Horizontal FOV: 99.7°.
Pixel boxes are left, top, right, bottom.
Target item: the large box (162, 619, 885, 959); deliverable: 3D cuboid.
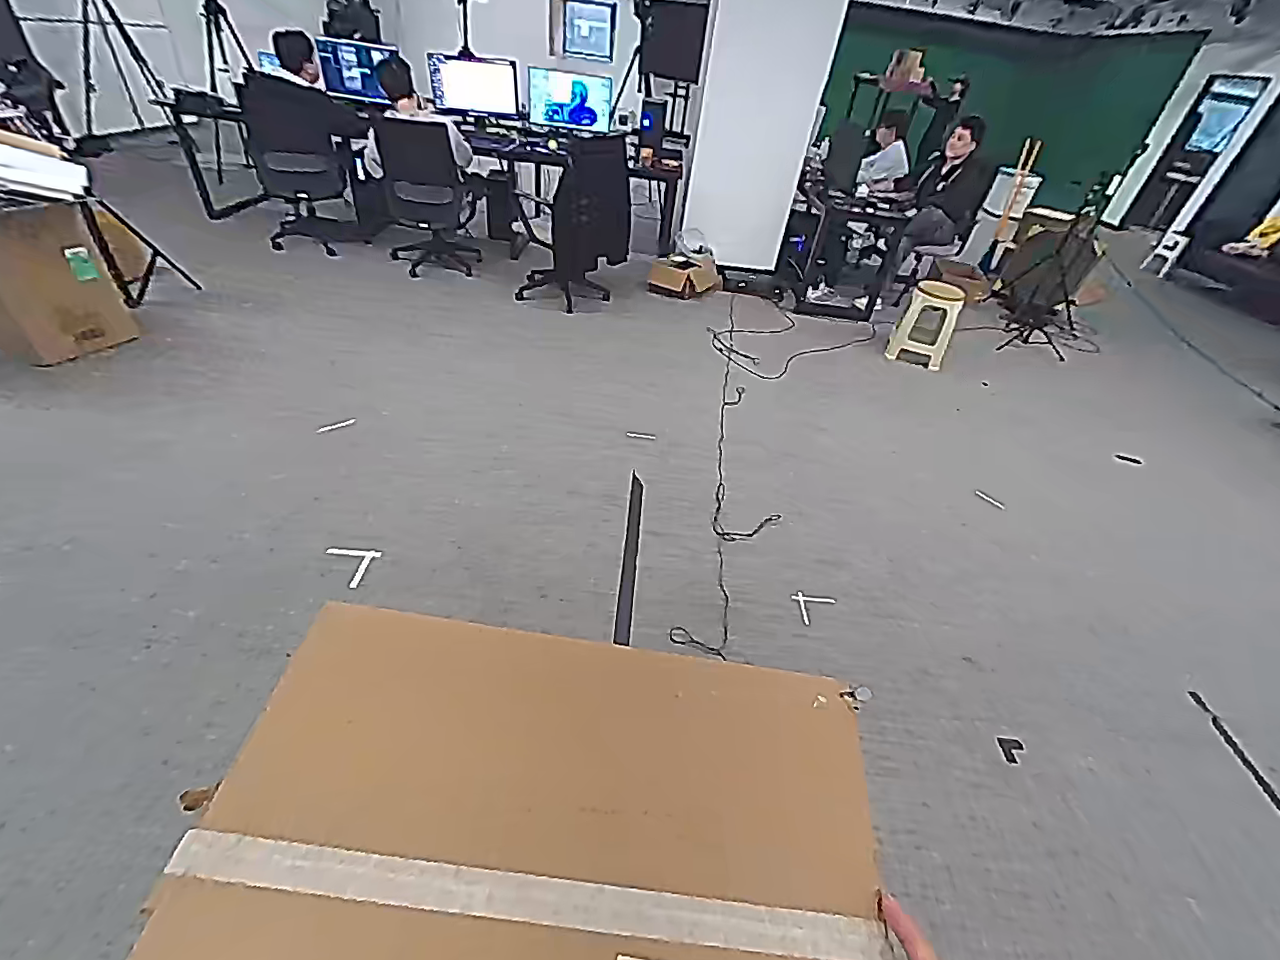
[{"bbox_3d":[-0.070,0.343,0.430,0.408,0.320,0.320,9,50,-2],"label":"large box"}]
